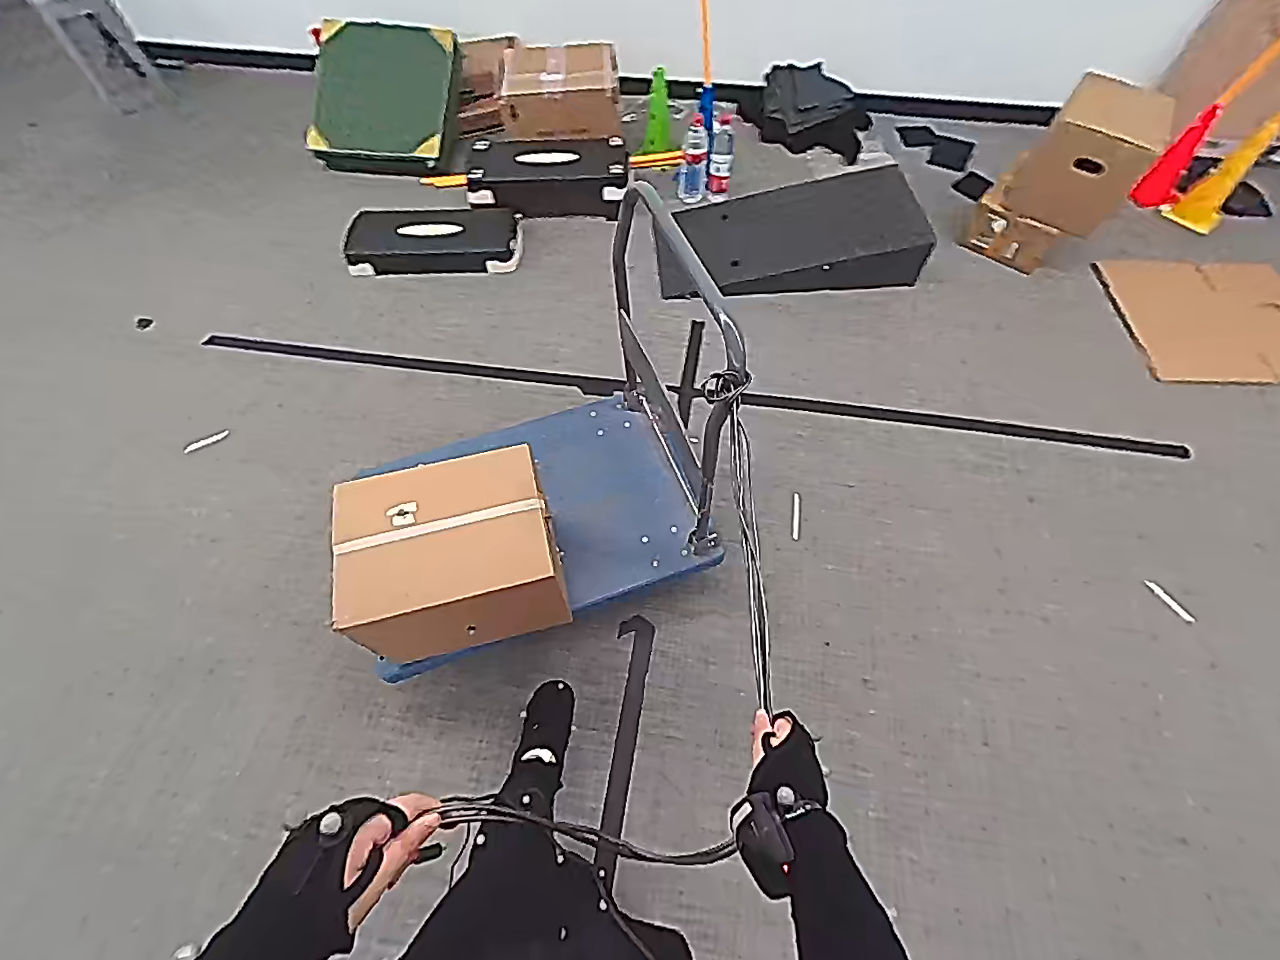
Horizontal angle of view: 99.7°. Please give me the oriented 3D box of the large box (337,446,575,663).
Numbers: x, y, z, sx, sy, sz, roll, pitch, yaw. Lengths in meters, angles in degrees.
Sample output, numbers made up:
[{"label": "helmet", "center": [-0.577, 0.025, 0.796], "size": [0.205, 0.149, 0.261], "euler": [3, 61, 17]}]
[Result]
[{"label": "large box", "center": [-0.383, 0.172, 1.185], "size": [0.408, 0.320, 0.320], "euler": [-13, 60, -7]}]
